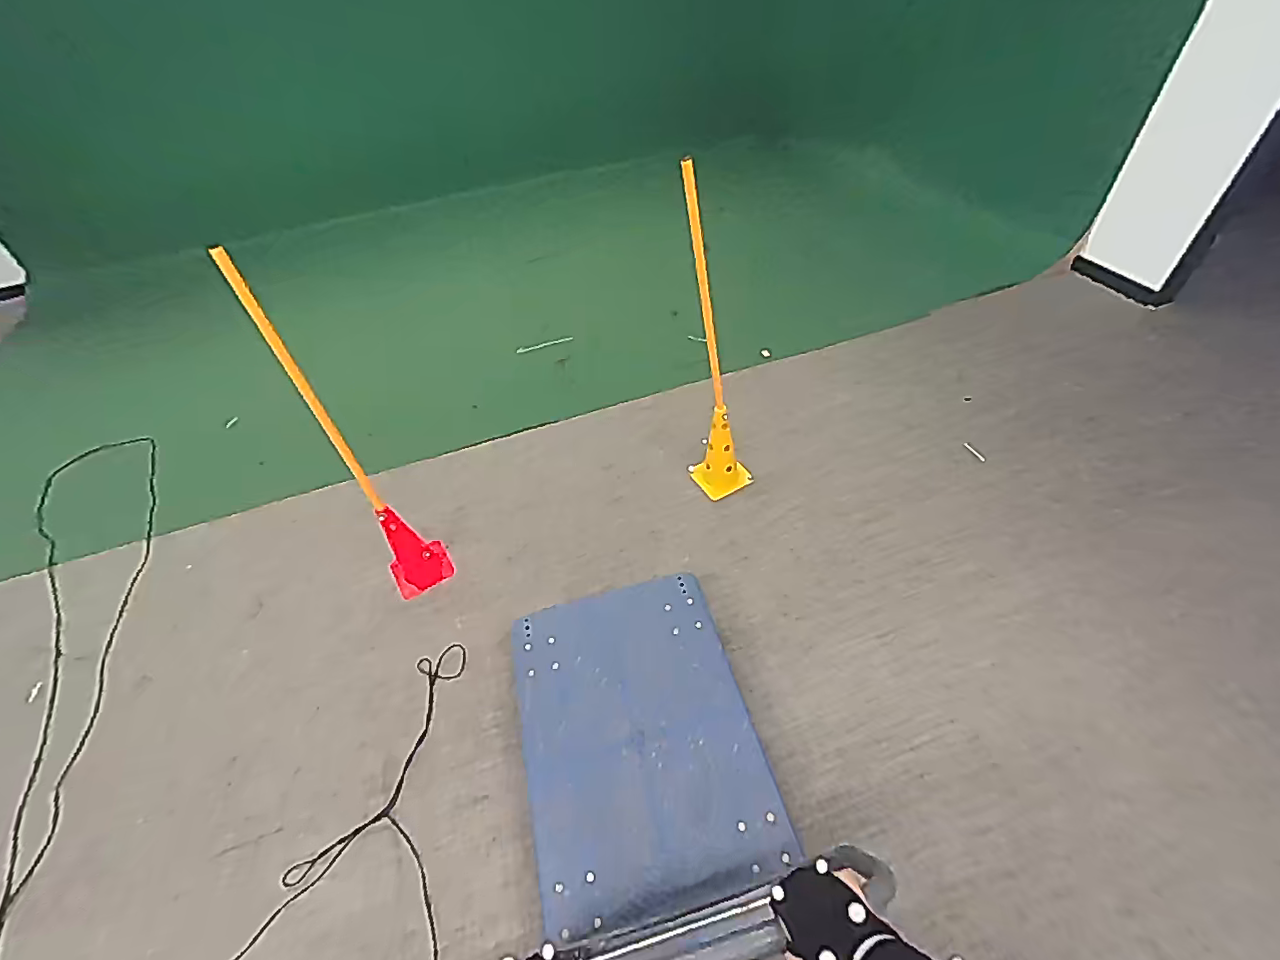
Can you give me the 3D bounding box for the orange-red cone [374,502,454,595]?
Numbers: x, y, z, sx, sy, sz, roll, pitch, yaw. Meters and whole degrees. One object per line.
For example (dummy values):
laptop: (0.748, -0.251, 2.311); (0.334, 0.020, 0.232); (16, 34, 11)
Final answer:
orange-red cone: (-0.817, 0.203, 1.859); (0.199, 0.360, 0.198); (-29, 50, -17)
